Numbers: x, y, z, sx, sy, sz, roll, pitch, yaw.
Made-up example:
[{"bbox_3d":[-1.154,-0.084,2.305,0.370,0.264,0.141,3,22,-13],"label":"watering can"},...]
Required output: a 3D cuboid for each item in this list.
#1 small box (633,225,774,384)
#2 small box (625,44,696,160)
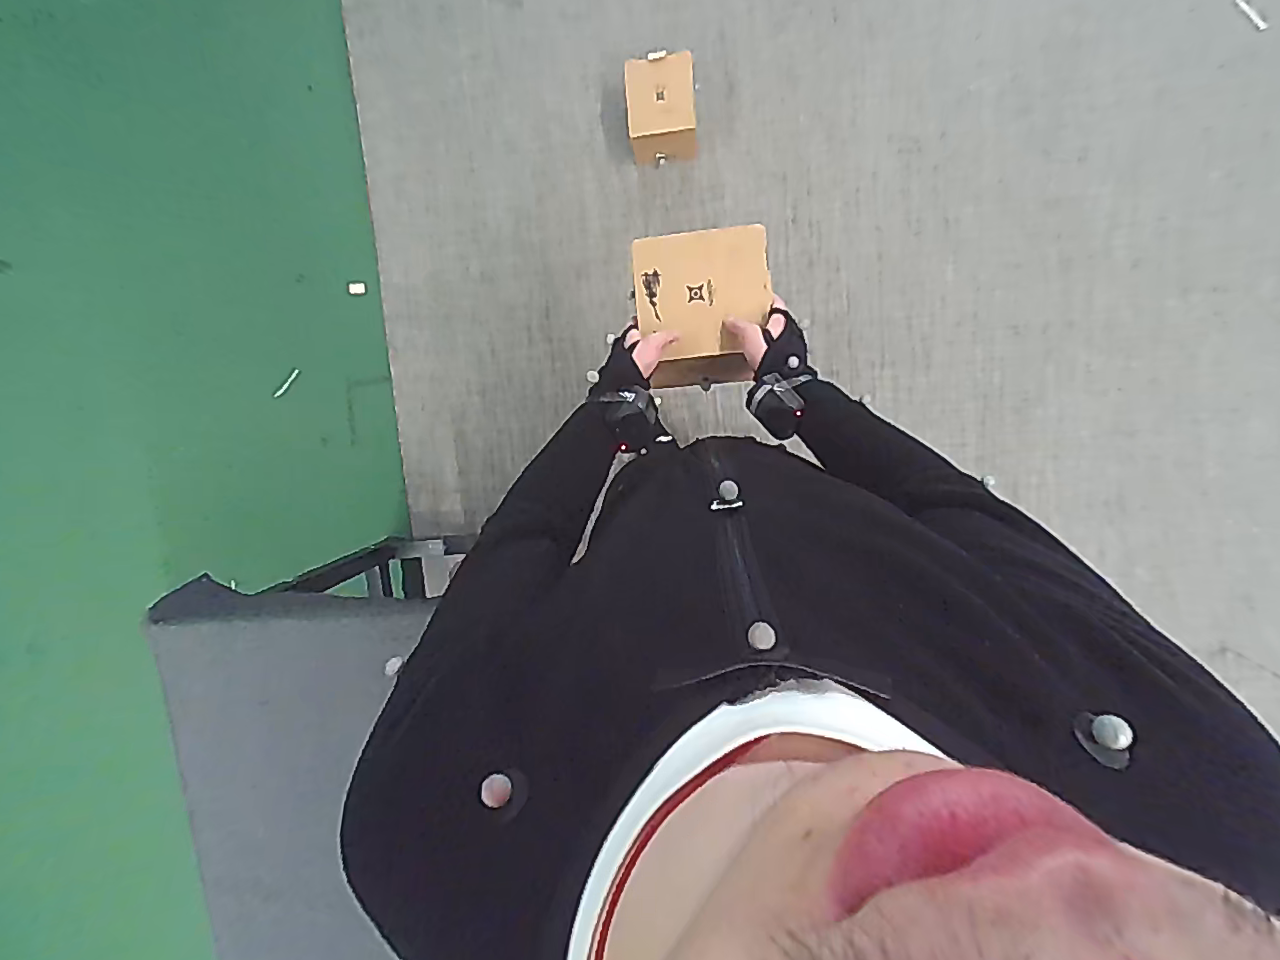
[{"bbox_3d":[0.085,-0.239,0.775,0.179,0.176,0.168,-4,87,4],"label":"small box"},{"bbox_3d":[0.056,-0.943,1.363,0.168,0.176,0.179,-2,97,8],"label":"small box"}]
